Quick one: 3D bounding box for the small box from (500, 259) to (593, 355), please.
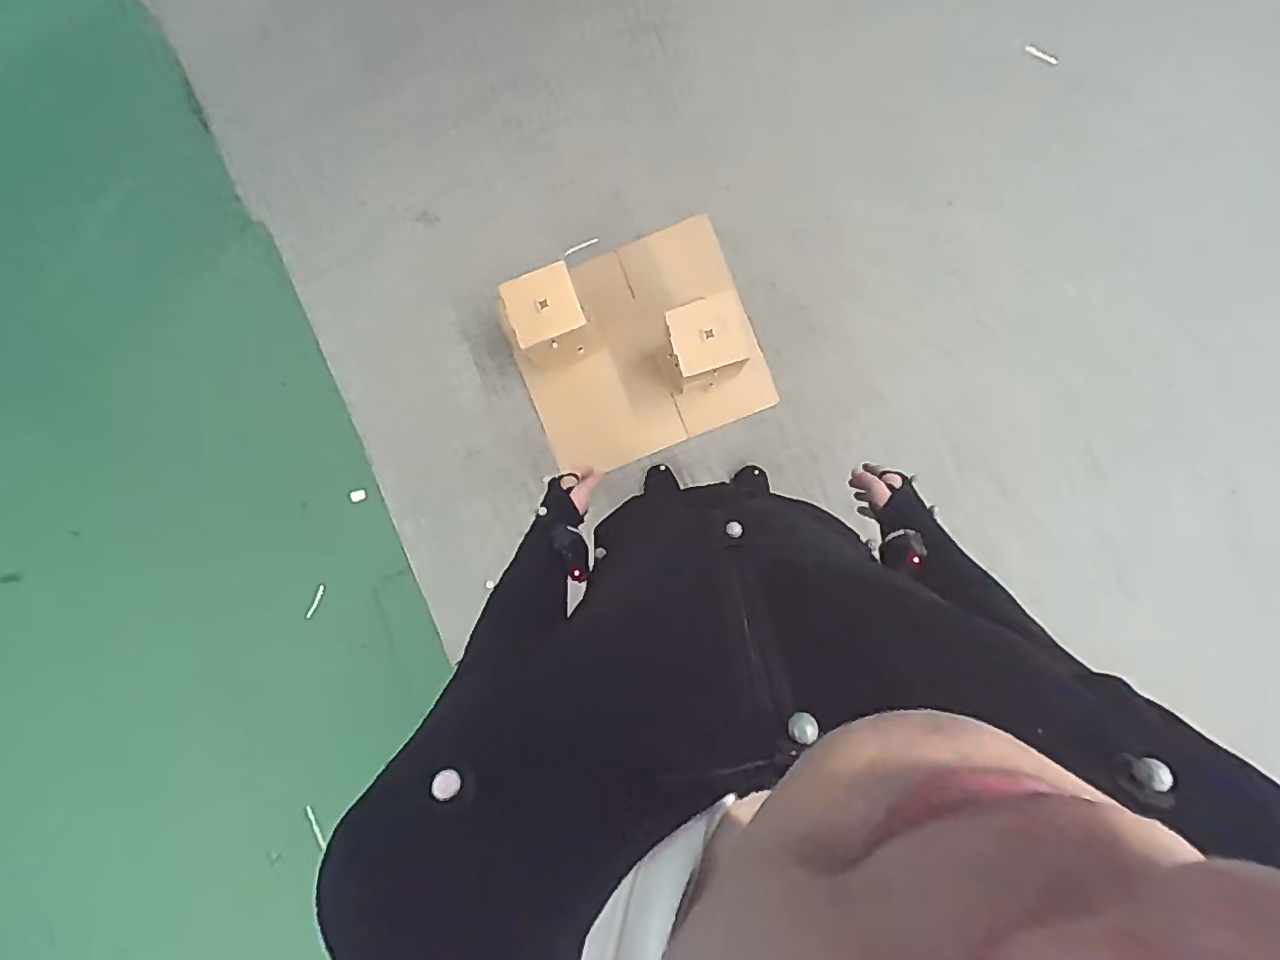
[{"bbox_3d":[-0.227,-0.434,1.382,0.179,0.176,0.168,-20,92,5],"label":"small box"}]

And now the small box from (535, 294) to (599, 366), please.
[{"bbox_3d":[-0.223,-0.440,1.543,0.179,0.176,0.168,-20,91,5],"label":"small box"}]

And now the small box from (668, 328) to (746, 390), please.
[{"bbox_3d":[0.183,-0.363,1.526,0.179,0.176,0.168,-19,91,4],"label":"small box"}]

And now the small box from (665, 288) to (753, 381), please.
[{"bbox_3d":[0.171,-0.357,1.363,0.179,0.176,0.168,-16,92,4],"label":"small box"}]
